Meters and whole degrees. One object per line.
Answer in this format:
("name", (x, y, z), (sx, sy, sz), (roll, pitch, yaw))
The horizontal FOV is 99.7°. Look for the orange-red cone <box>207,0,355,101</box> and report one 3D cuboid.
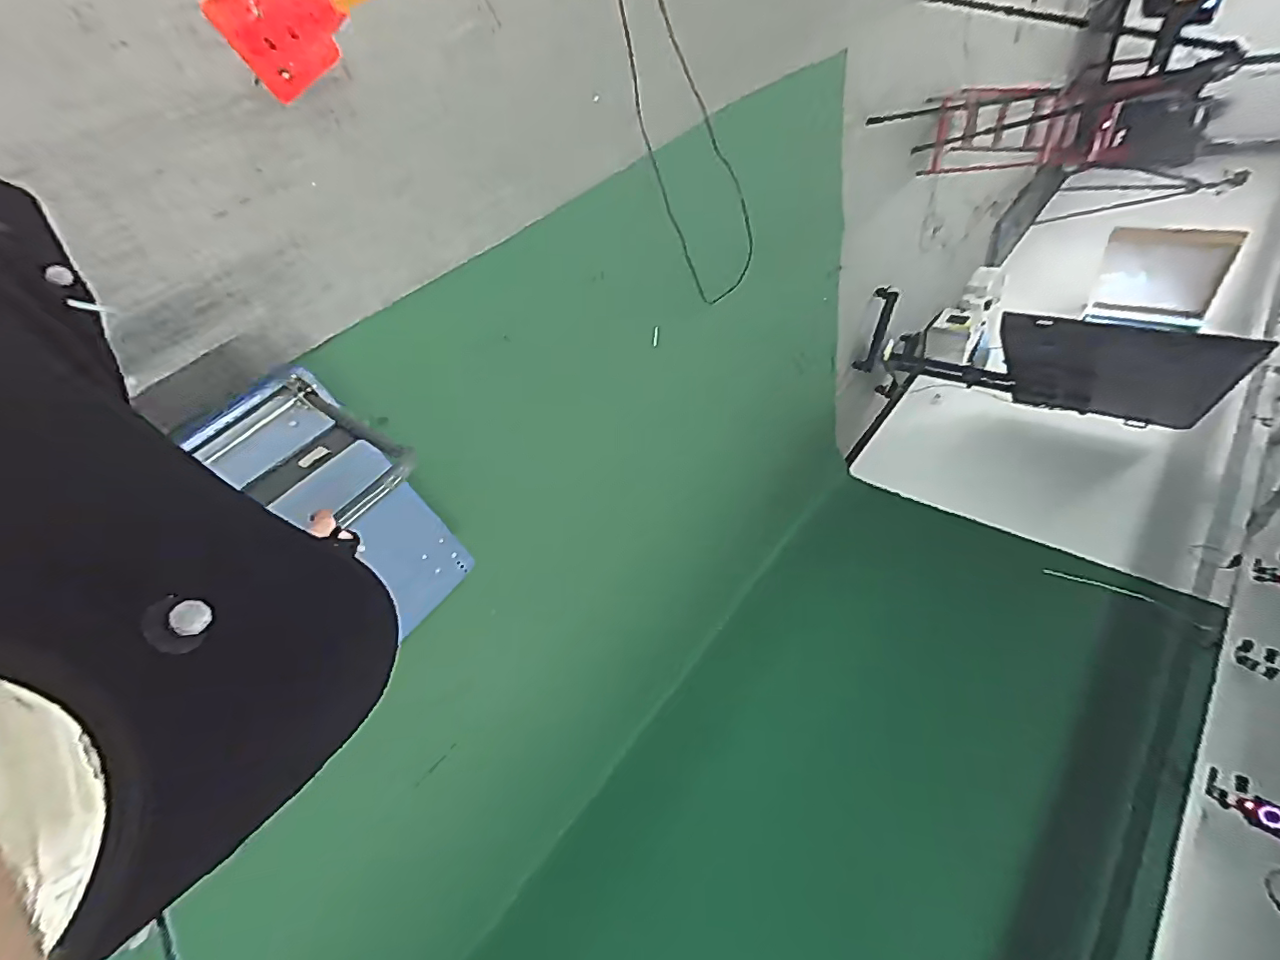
("orange-red cone", (-0.664, -0.923, 1.081), (0.199, 0.360, 0.198), (-55, 143, -15))
